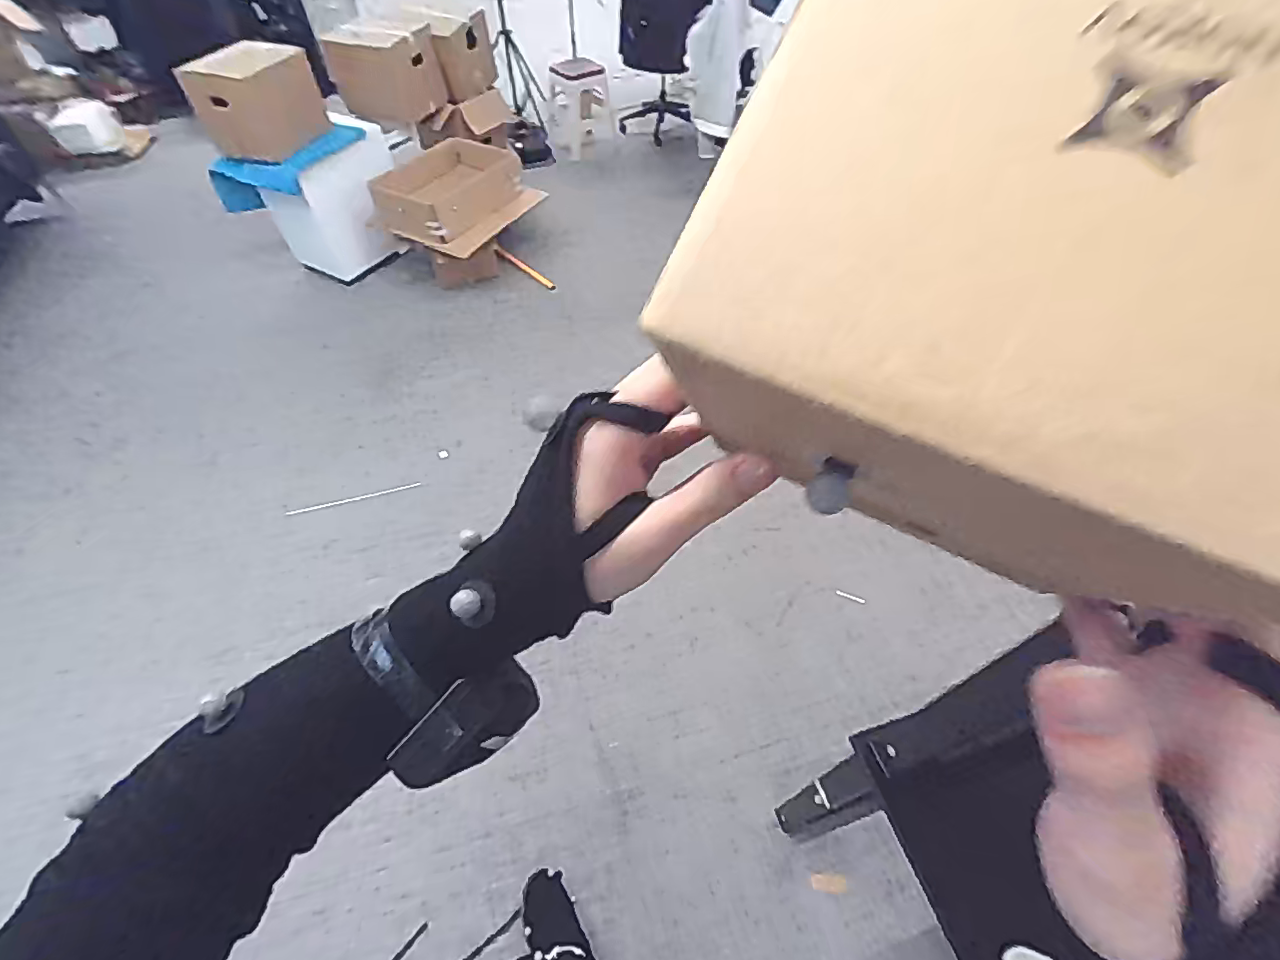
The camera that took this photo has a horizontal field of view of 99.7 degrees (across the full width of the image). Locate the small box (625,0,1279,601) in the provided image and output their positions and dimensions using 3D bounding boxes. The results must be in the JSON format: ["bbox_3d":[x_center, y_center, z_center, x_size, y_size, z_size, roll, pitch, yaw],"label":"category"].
[{"bbox_3d":[0.121,-0.071,0.205,0.168,0.176,0.179,25,87,17],"label":"small box"}]
